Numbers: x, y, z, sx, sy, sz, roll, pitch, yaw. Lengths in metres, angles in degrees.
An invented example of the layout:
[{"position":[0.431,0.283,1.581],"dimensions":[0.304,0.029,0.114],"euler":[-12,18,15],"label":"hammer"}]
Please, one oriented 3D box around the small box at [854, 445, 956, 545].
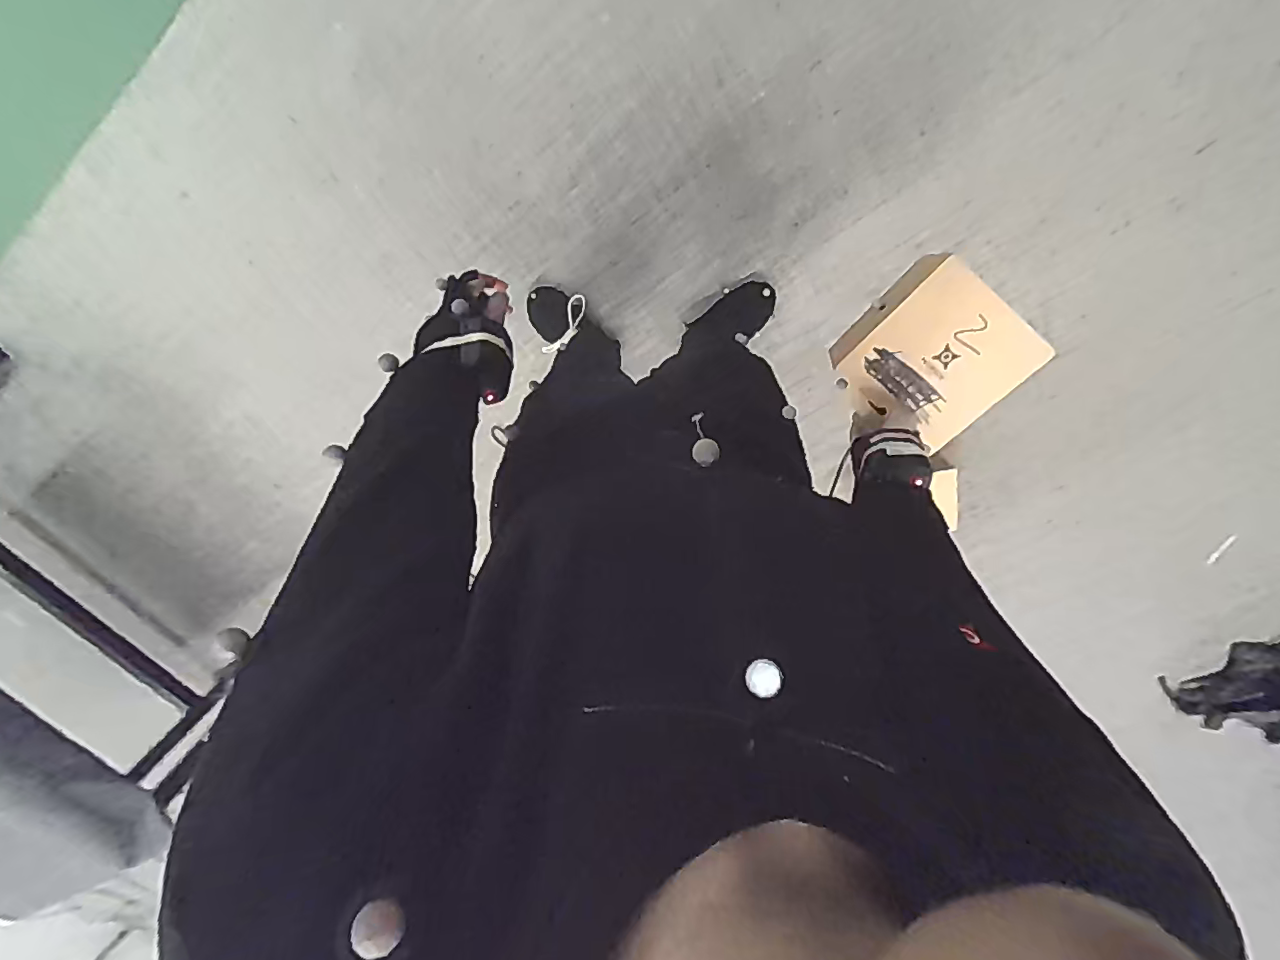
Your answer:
[{"position":[0.628,0.031,1.295],"dimensions":[0.179,0.176,0.168],"euler":[-10,115,11],"label":"small box"}]
